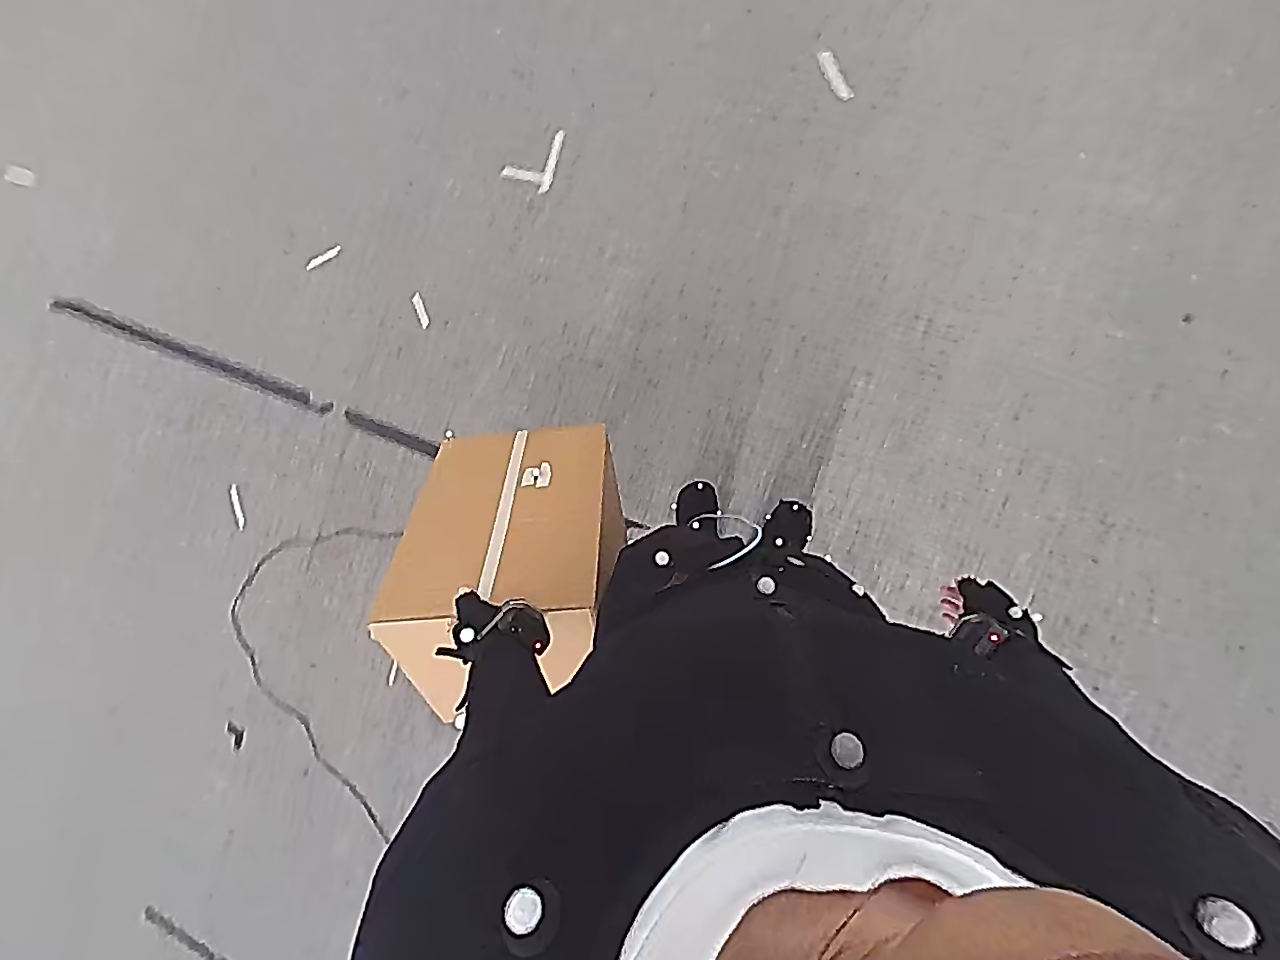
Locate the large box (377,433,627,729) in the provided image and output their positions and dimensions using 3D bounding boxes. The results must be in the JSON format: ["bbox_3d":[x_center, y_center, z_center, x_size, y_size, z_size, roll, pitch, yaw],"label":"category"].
[{"bbox_3d":[-0.199,0.170,0.967,0.320,0.408,0.320,-5,131,2],"label":"large box"}]
